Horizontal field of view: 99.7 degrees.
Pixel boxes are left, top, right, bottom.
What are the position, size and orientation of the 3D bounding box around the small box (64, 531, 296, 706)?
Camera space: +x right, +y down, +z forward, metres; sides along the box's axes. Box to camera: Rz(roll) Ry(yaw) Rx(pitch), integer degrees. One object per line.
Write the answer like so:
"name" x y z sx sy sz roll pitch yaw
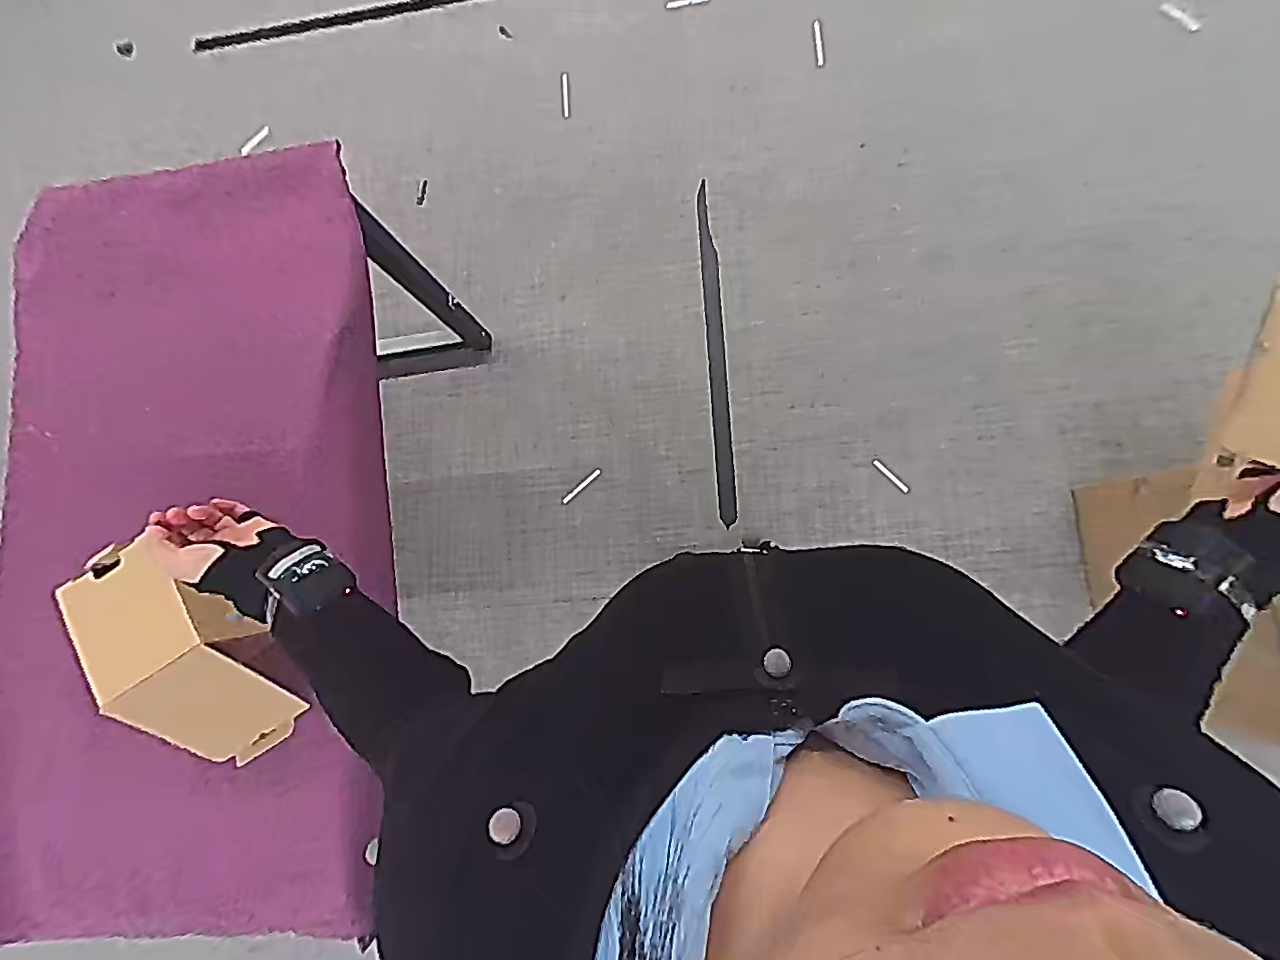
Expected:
"small box" -0.648 0.188 0.783 0.168 0.176 0.179 -32 79 2
